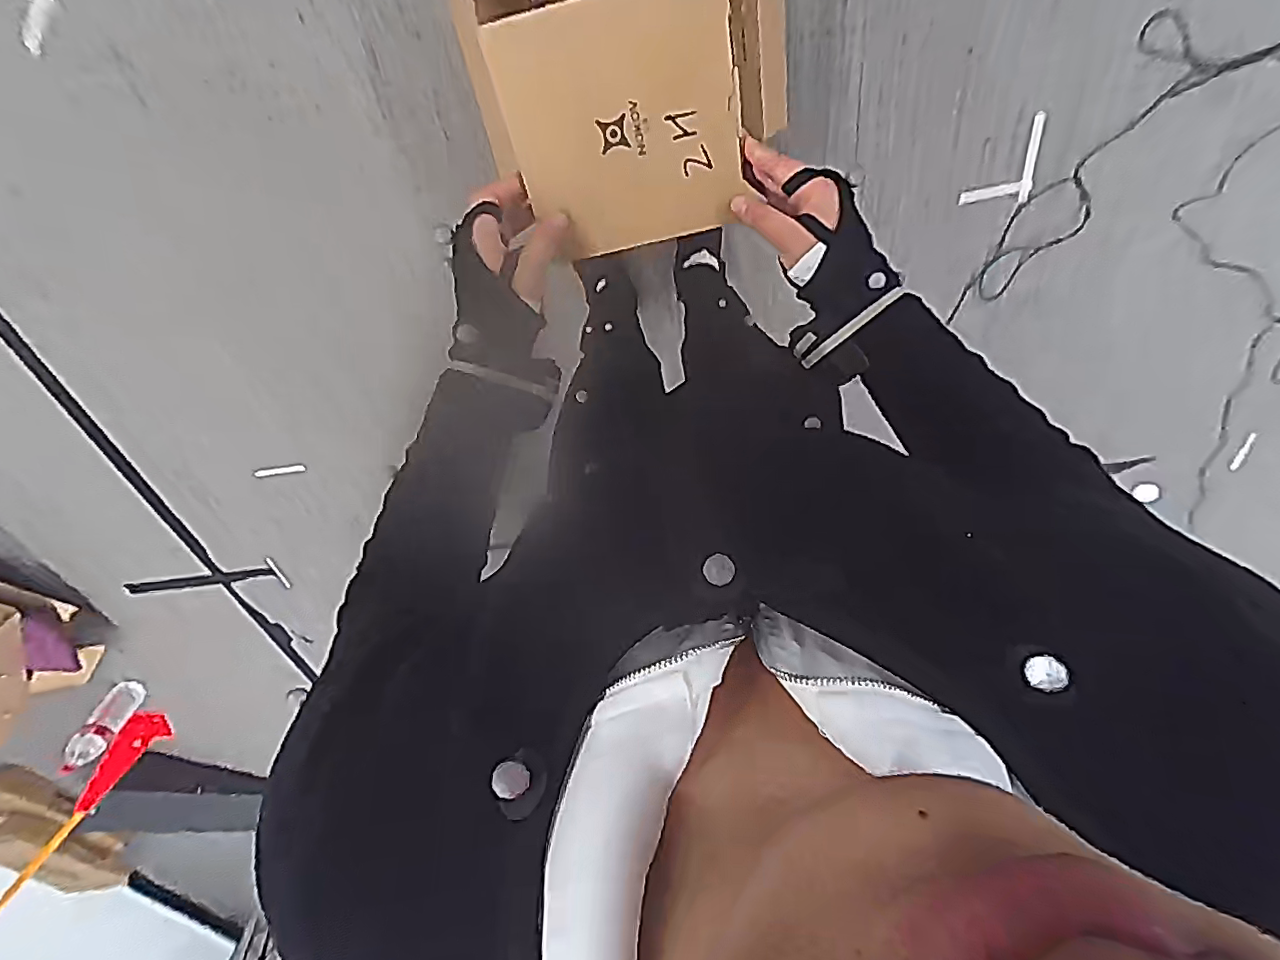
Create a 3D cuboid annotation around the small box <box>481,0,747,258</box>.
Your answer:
[{"bbox_3d":[-0.011,-0.316,0.470,0.179,0.176,0.168,-10,129,7],"label":"small box"}]
